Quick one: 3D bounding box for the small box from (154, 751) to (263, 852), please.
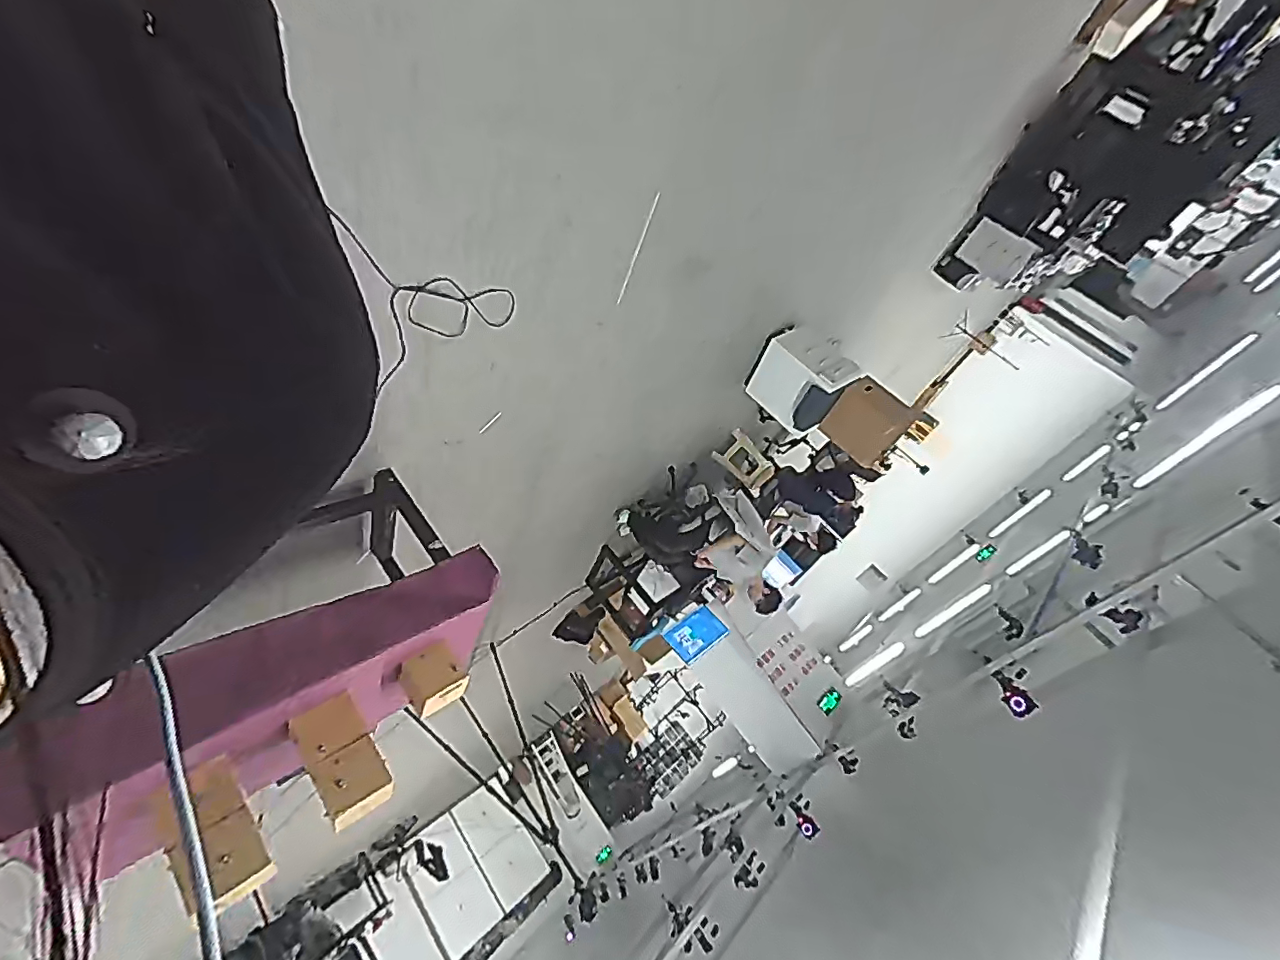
[{"bbox_3d":[-1.170,0.878,1.474,0.179,0.176,0.168,-25,153,-40],"label":"small box"}]

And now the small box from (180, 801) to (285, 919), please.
[{"bbox_3d":[-1.065,0.990,1.414,0.179,0.176,0.168,-24,153,-41],"label":"small box"}]

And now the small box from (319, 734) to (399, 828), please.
[{"bbox_3d":[-0.853,0.902,1.635,0.168,0.176,0.179,-21,152,-41],"label":"small box"}]

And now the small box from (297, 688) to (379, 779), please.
[{"bbox_3d":[-0.950,0.788,1.698,0.179,0.176,0.168,-21,151,-42],"label":"small box"}]
